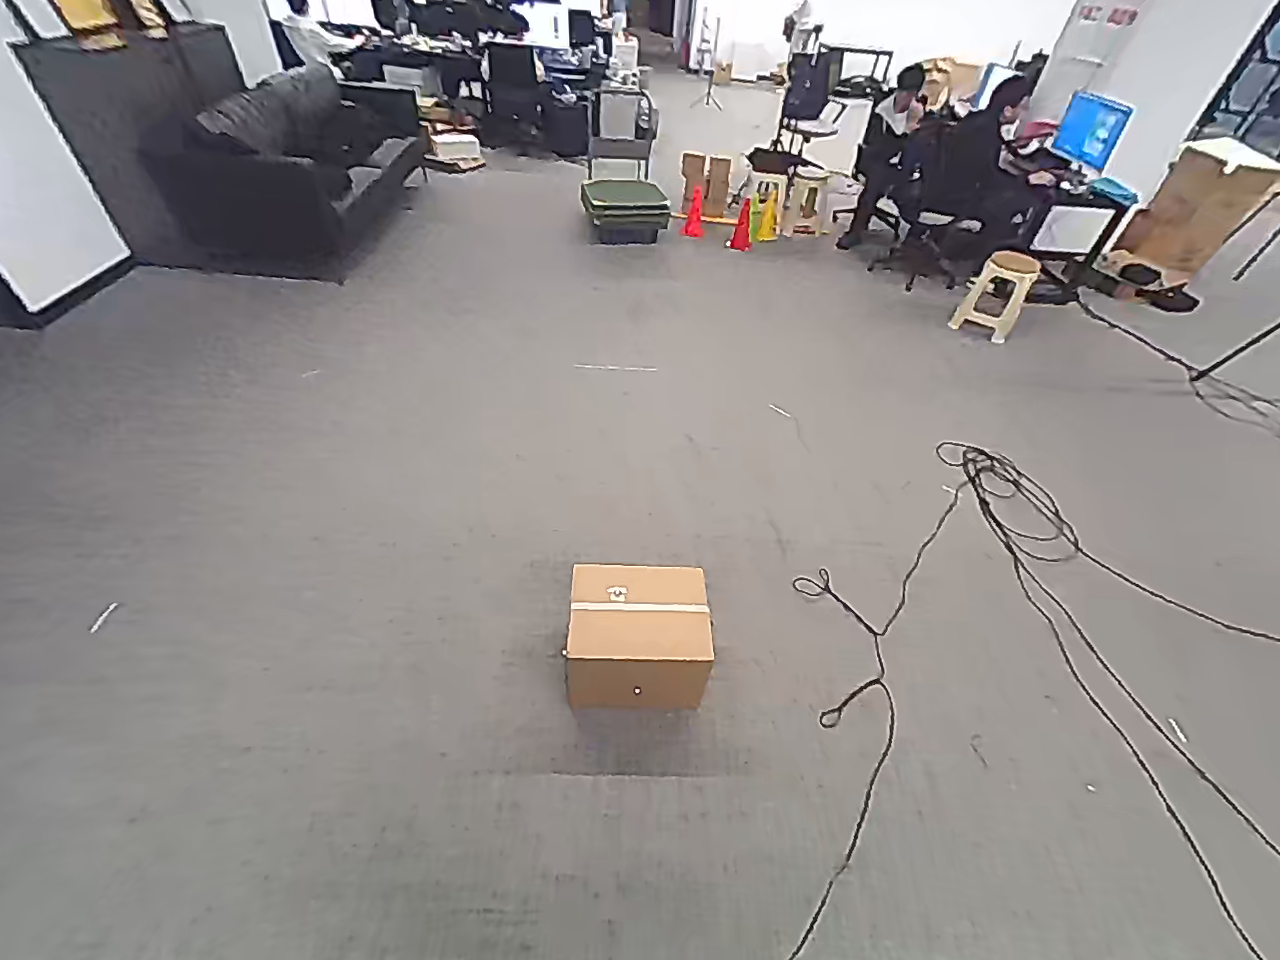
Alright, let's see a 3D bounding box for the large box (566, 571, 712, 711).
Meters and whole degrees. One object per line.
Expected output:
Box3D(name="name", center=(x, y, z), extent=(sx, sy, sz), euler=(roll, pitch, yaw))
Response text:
Box3D(name="large box", center=(-0.013, 0.498, 1.672), extent=(0.408, 0.320, 0.320), euler=(1, 43, -4))
